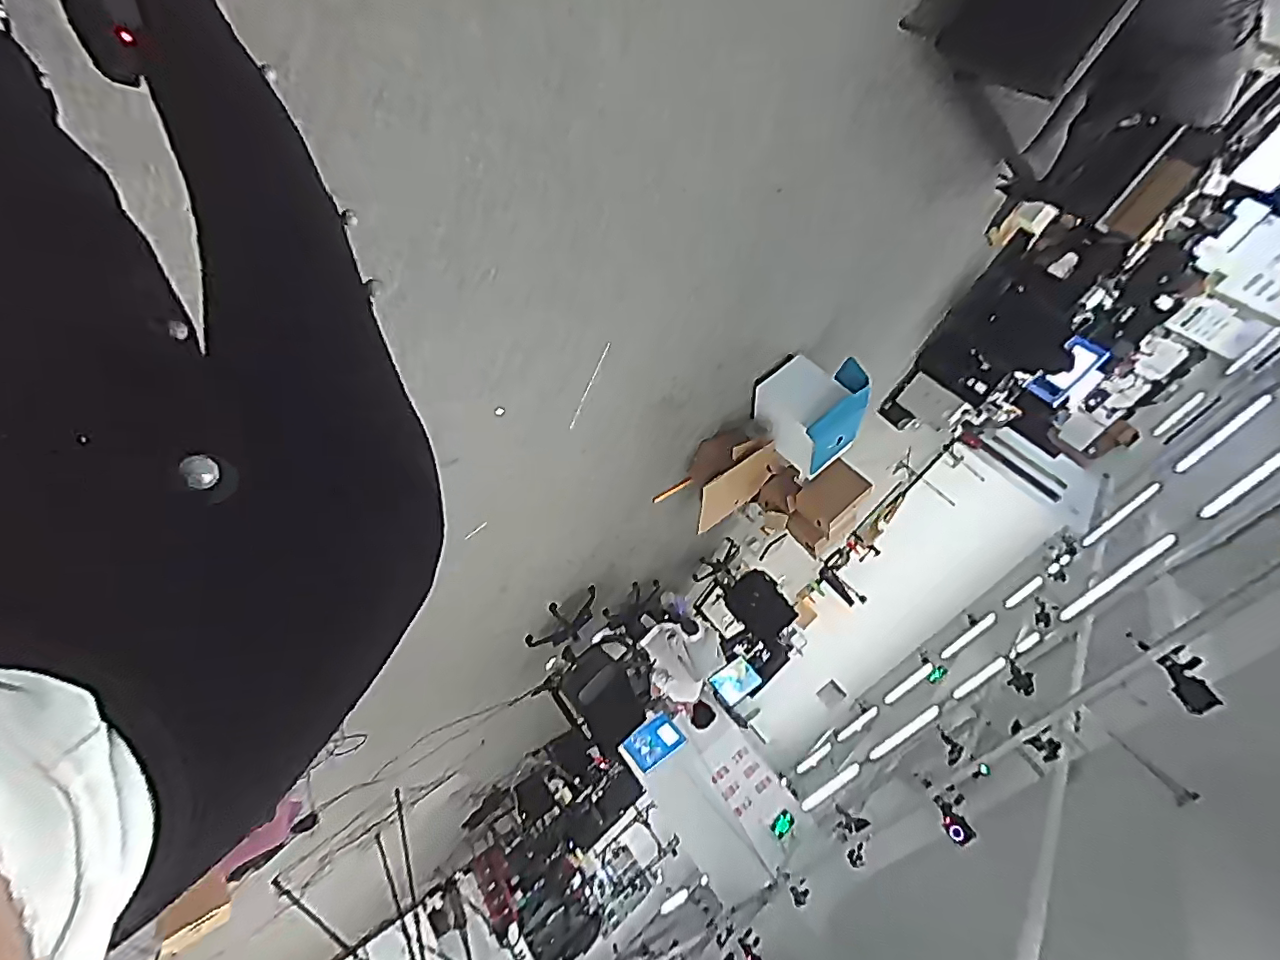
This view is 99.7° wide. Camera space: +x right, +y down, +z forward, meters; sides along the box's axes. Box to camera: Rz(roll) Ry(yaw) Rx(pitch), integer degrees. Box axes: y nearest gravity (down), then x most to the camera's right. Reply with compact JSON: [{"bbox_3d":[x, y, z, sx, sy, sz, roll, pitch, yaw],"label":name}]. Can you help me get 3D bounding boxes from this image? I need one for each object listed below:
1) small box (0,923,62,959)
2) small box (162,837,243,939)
[{"bbox_3d":[-1.612,1.297,1.390,0.168,0.176,0.179,-11,140,-47],"label":"small box"},{"bbox_3d":[-1.349,1.248,1.667,0.168,0.176,0.179,-12,141,-46],"label":"small box"}]
